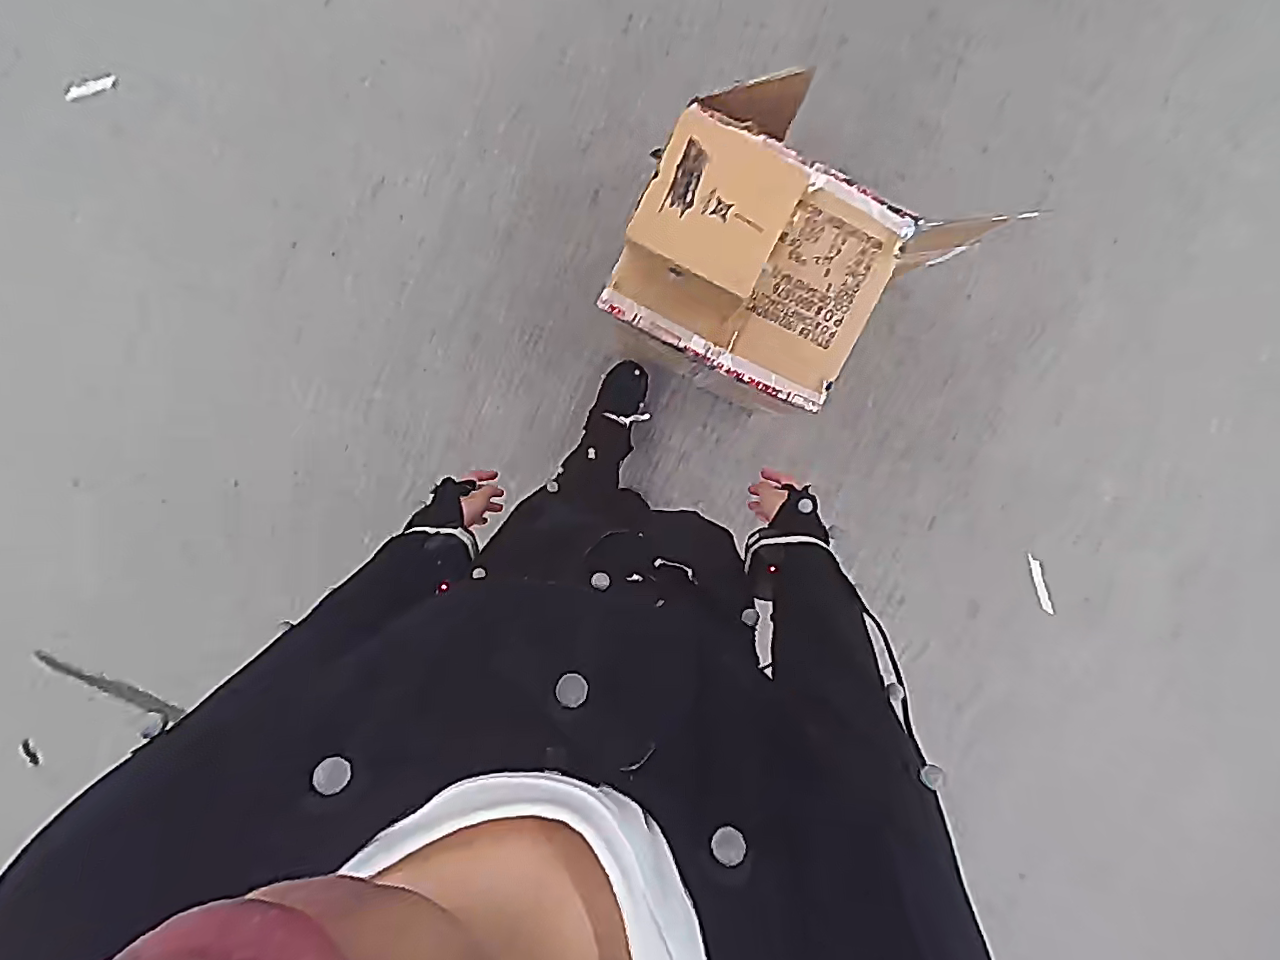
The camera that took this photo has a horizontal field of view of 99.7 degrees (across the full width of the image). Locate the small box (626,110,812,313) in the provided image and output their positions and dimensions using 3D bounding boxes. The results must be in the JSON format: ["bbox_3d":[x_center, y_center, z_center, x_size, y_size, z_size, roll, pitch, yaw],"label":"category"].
[{"bbox_3d":[0.099,-0.347,0.741,0.179,0.176,0.168,28,99,-2],"label":"small box"}]
